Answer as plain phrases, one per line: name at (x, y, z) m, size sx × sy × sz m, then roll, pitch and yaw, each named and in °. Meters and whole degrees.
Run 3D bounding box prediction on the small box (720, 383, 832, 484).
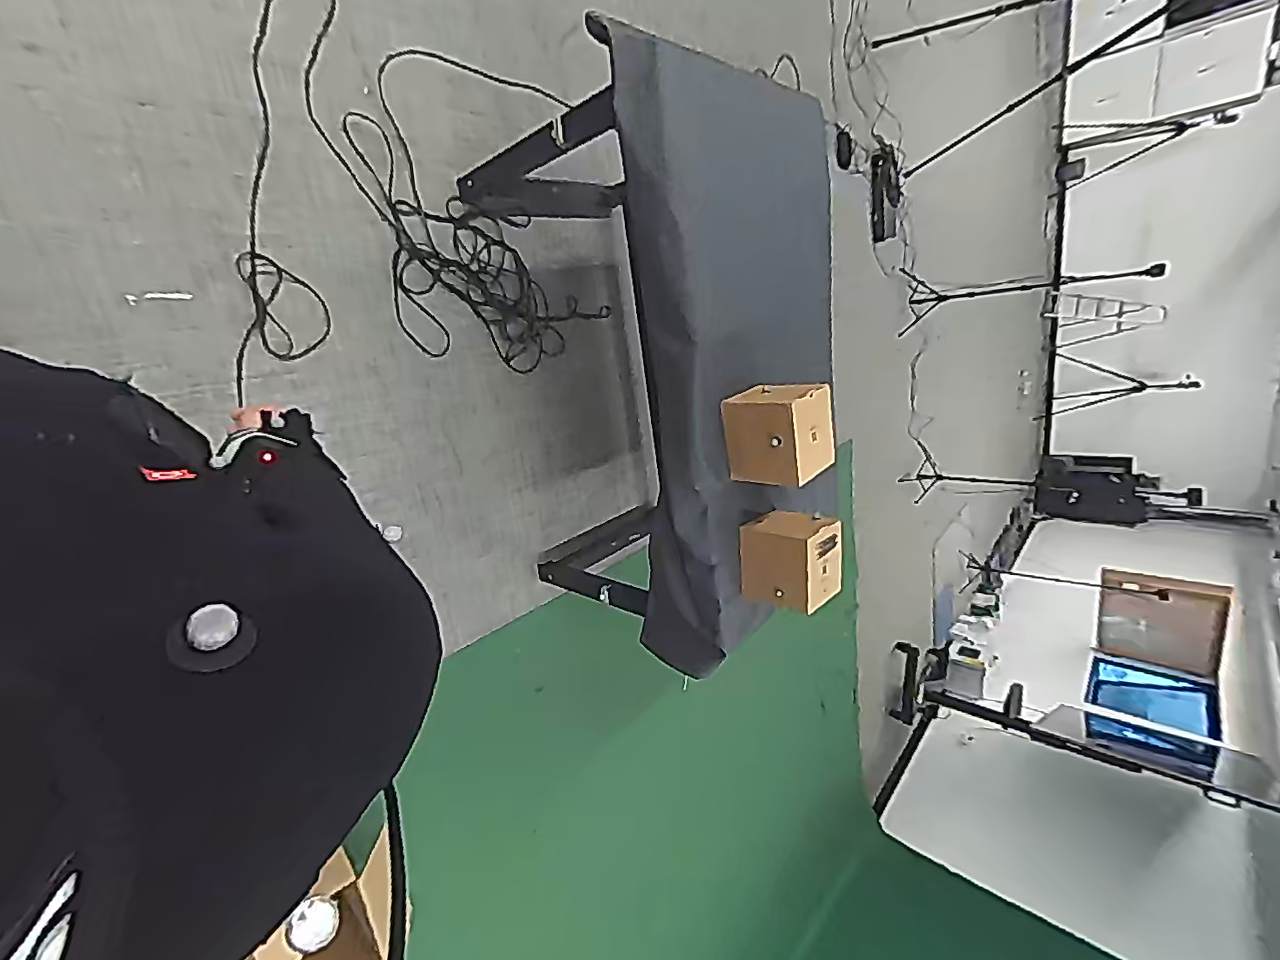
small box at (0.291, -0.105, 1.158) m, size 0.168 × 0.176 × 0.179 m, roll -27°, pitch 113°, yaw -42°
